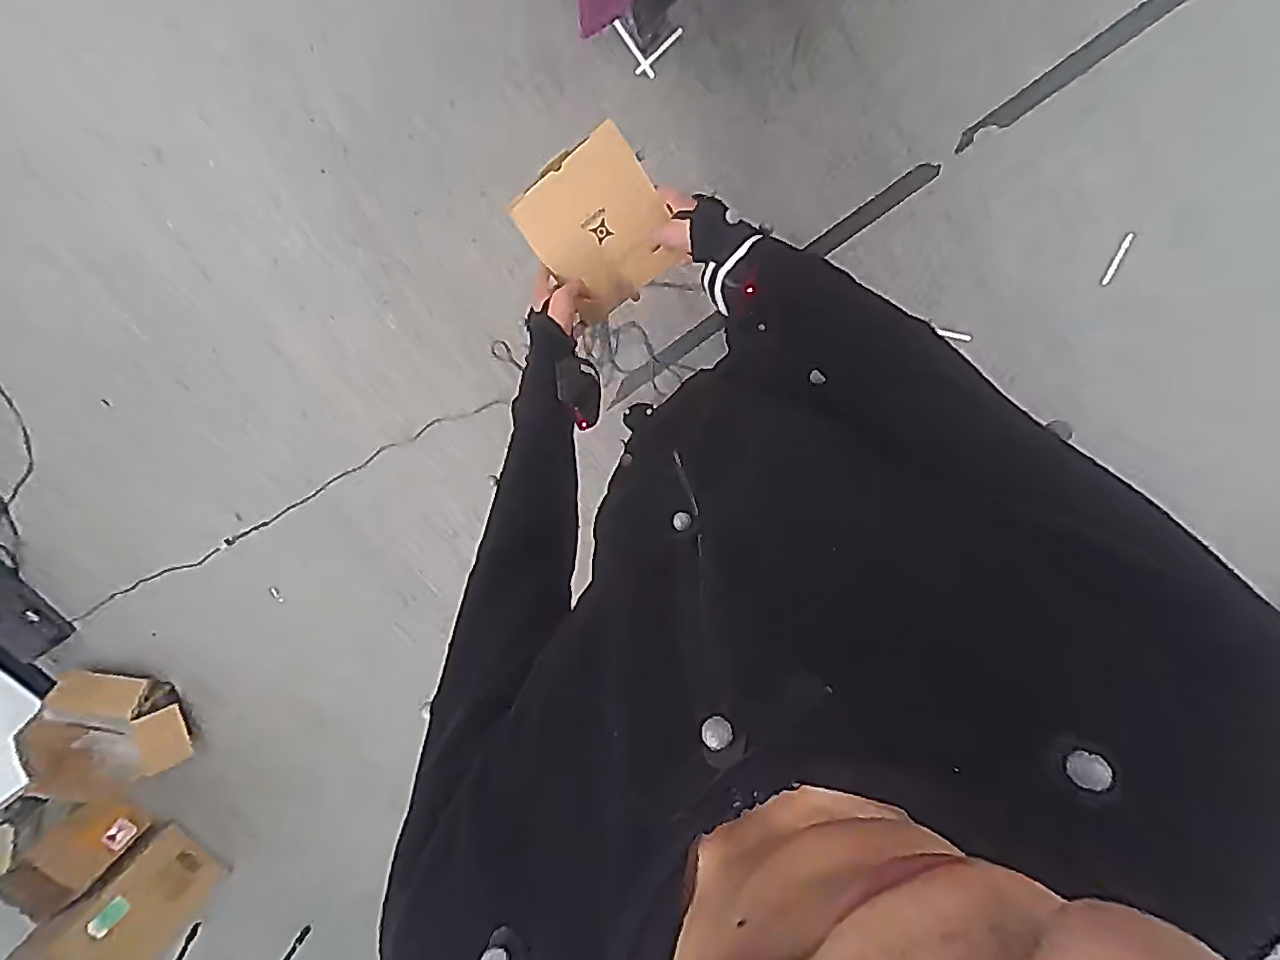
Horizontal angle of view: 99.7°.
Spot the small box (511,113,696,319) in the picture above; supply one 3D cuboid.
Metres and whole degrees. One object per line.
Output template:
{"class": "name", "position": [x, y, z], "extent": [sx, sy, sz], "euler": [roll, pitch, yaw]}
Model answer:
{"class": "small box", "position": [-0.044, -0.345, 0.735], "extent": [0.168, 0.176, 0.179], "euler": [-32, 110, 14]}
